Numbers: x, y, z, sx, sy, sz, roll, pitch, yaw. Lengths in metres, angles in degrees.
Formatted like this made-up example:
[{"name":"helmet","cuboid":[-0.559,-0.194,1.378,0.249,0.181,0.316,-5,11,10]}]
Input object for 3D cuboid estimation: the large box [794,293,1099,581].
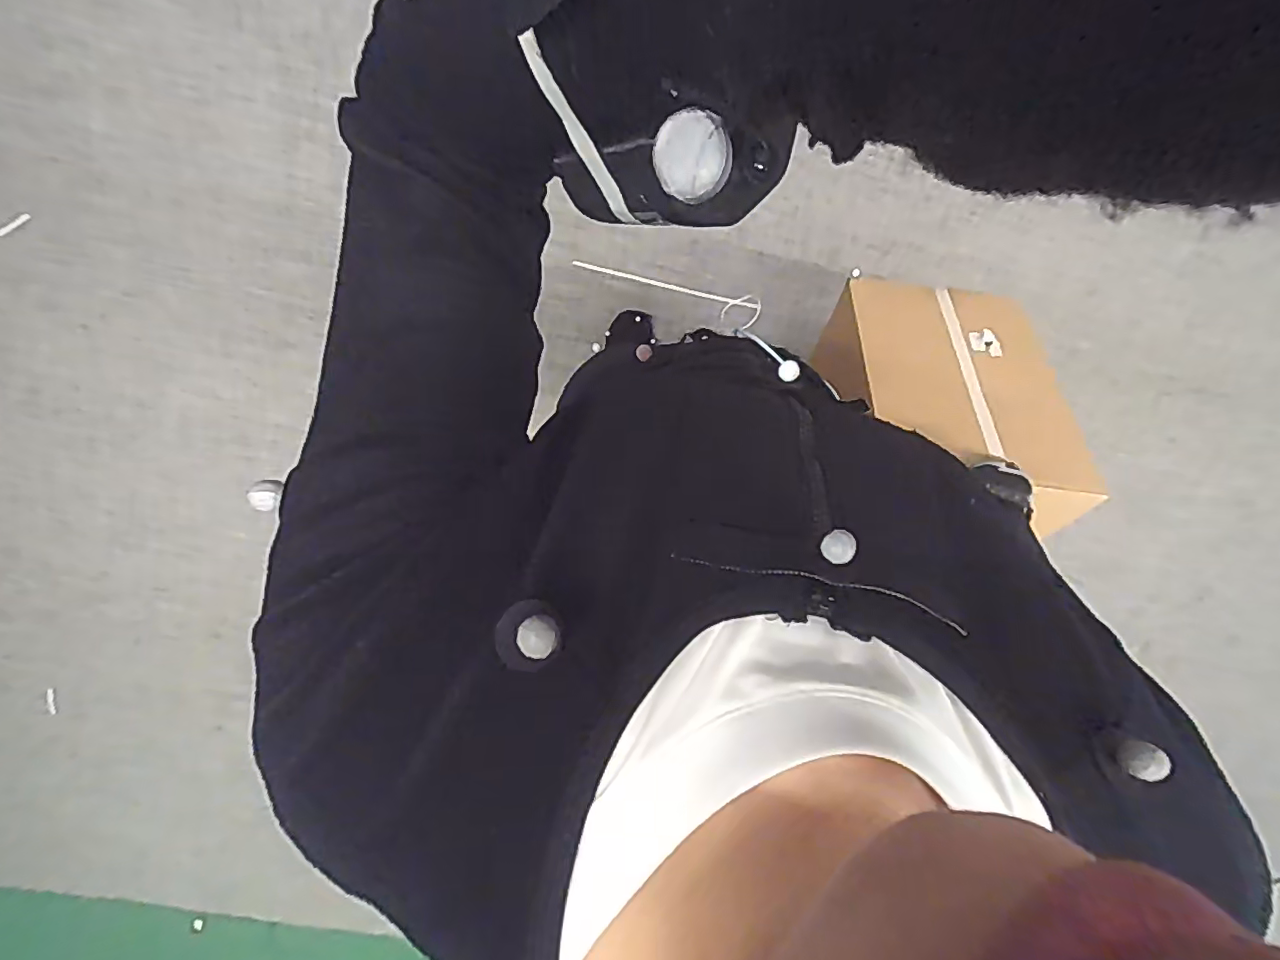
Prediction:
[{"name":"large box","cuboid":[0.483,-0.069,0.968,0.320,0.408,0.320,6,146,-1]}]
